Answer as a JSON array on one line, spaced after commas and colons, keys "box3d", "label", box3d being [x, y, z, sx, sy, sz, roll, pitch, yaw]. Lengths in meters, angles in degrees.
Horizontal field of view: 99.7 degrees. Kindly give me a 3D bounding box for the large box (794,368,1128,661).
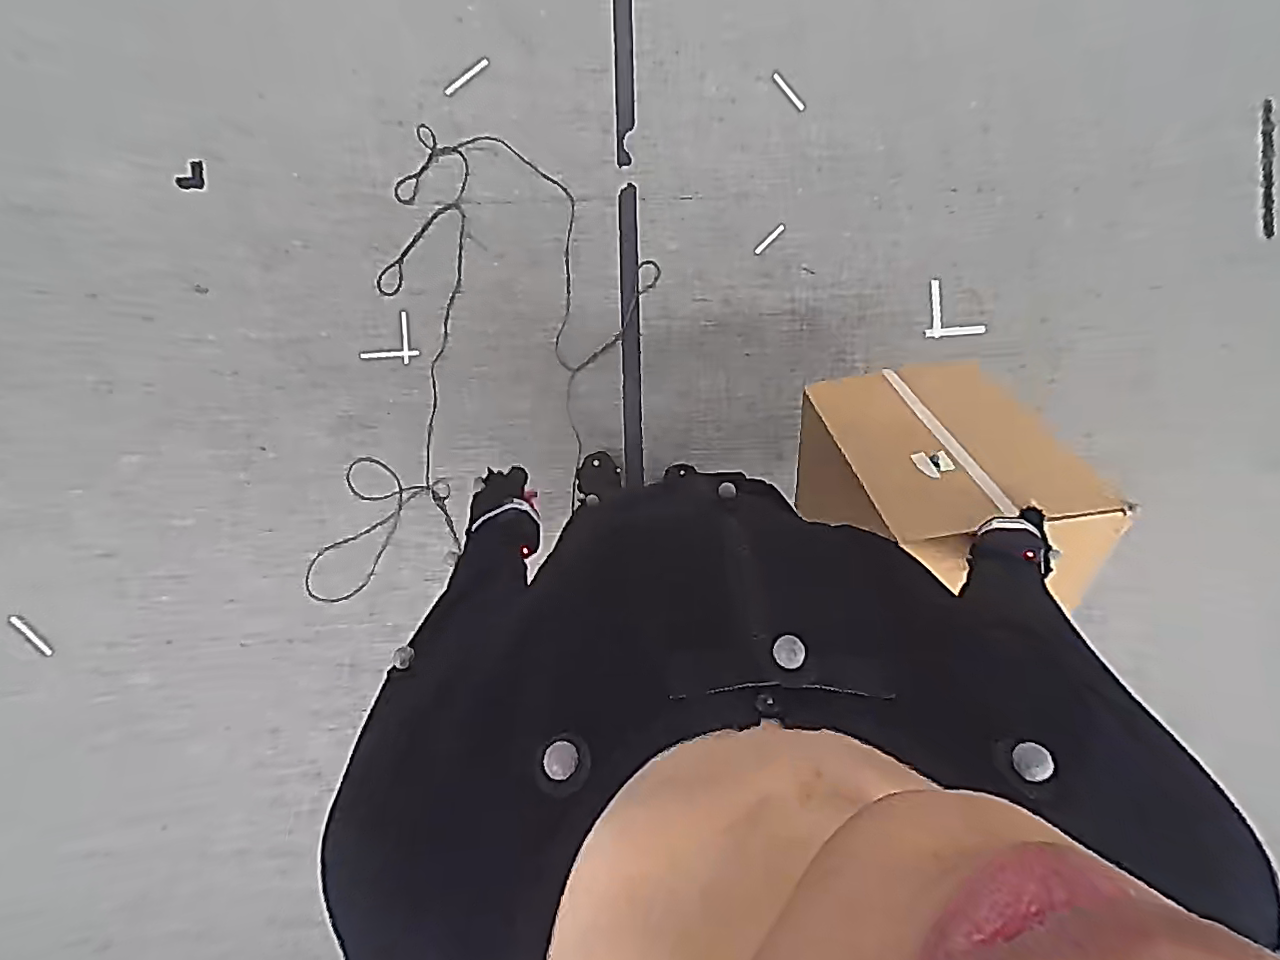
[{"box3d": [0.497, 0.050, 0.965, 0.320, 0.408, 0.320, -9, 131, 1], "label": "large box"}]
